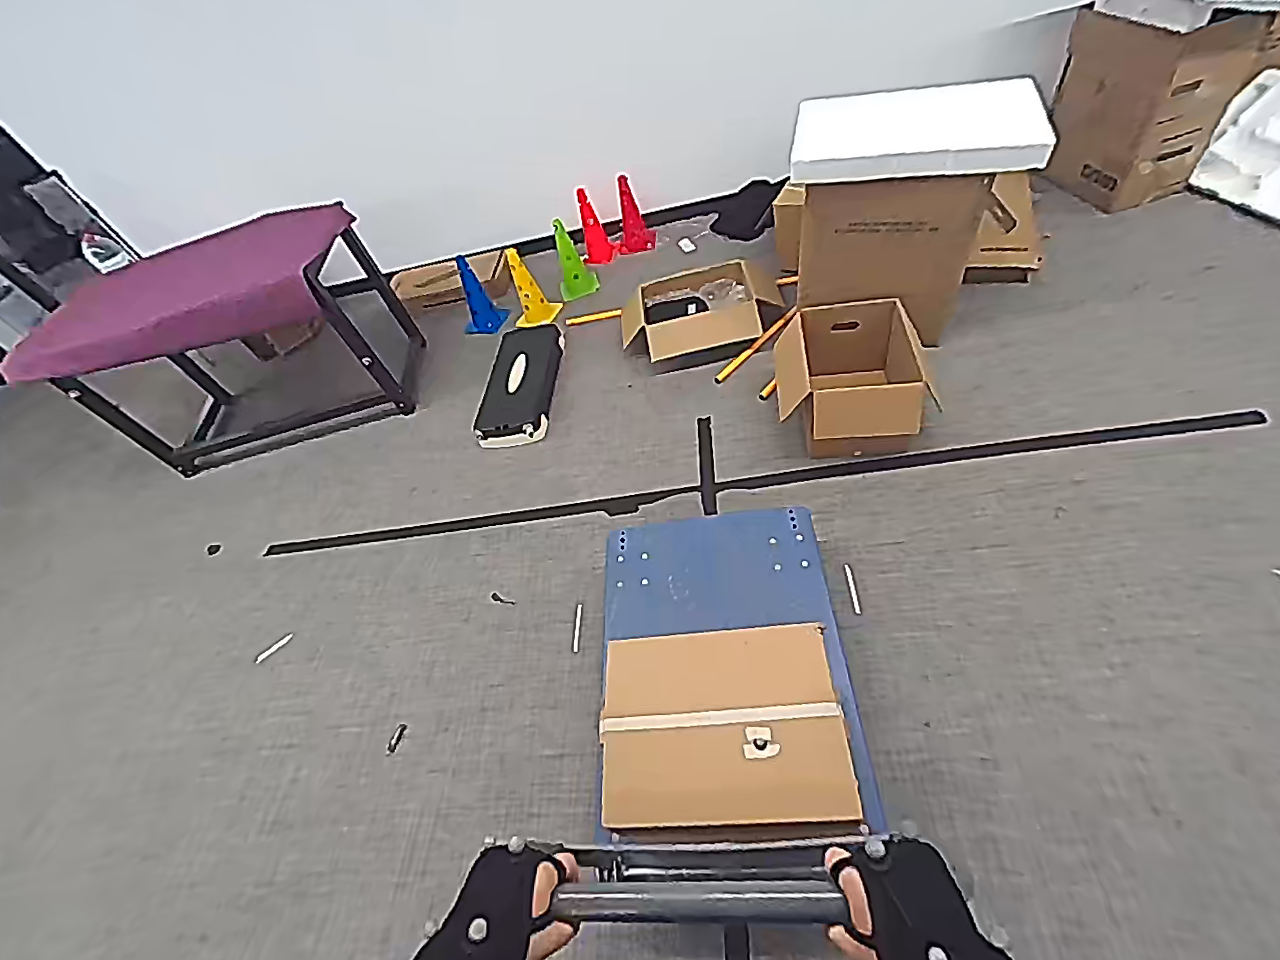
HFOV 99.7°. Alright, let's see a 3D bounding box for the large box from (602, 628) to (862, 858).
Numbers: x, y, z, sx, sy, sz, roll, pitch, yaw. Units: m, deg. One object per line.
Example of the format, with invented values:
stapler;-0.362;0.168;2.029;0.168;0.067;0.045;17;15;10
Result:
large box;0.158;0.508;1.026;0.408;0.320;0.320;-8;51;8
